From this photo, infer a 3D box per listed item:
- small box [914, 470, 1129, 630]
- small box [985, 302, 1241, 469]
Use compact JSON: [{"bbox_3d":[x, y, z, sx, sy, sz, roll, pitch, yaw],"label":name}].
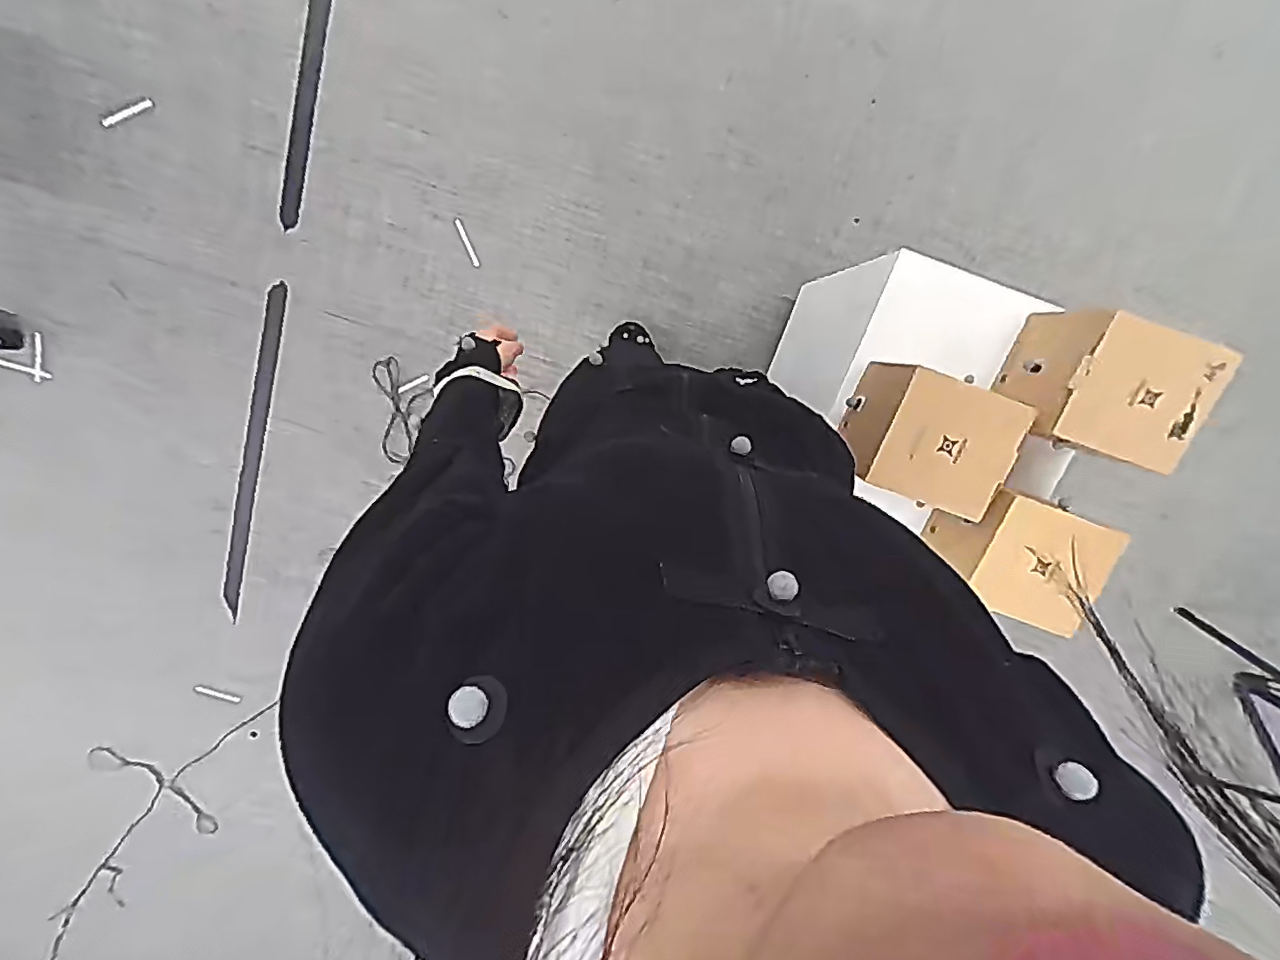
[{"bbox_3d":[0.560,0.094,0.826,0.179,0.176,0.168,19,104,-3],"label":"small box"},{"bbox_3d":[0.638,-0.135,0.760,0.179,0.176,0.168,20,106,-2],"label":"small box"}]
